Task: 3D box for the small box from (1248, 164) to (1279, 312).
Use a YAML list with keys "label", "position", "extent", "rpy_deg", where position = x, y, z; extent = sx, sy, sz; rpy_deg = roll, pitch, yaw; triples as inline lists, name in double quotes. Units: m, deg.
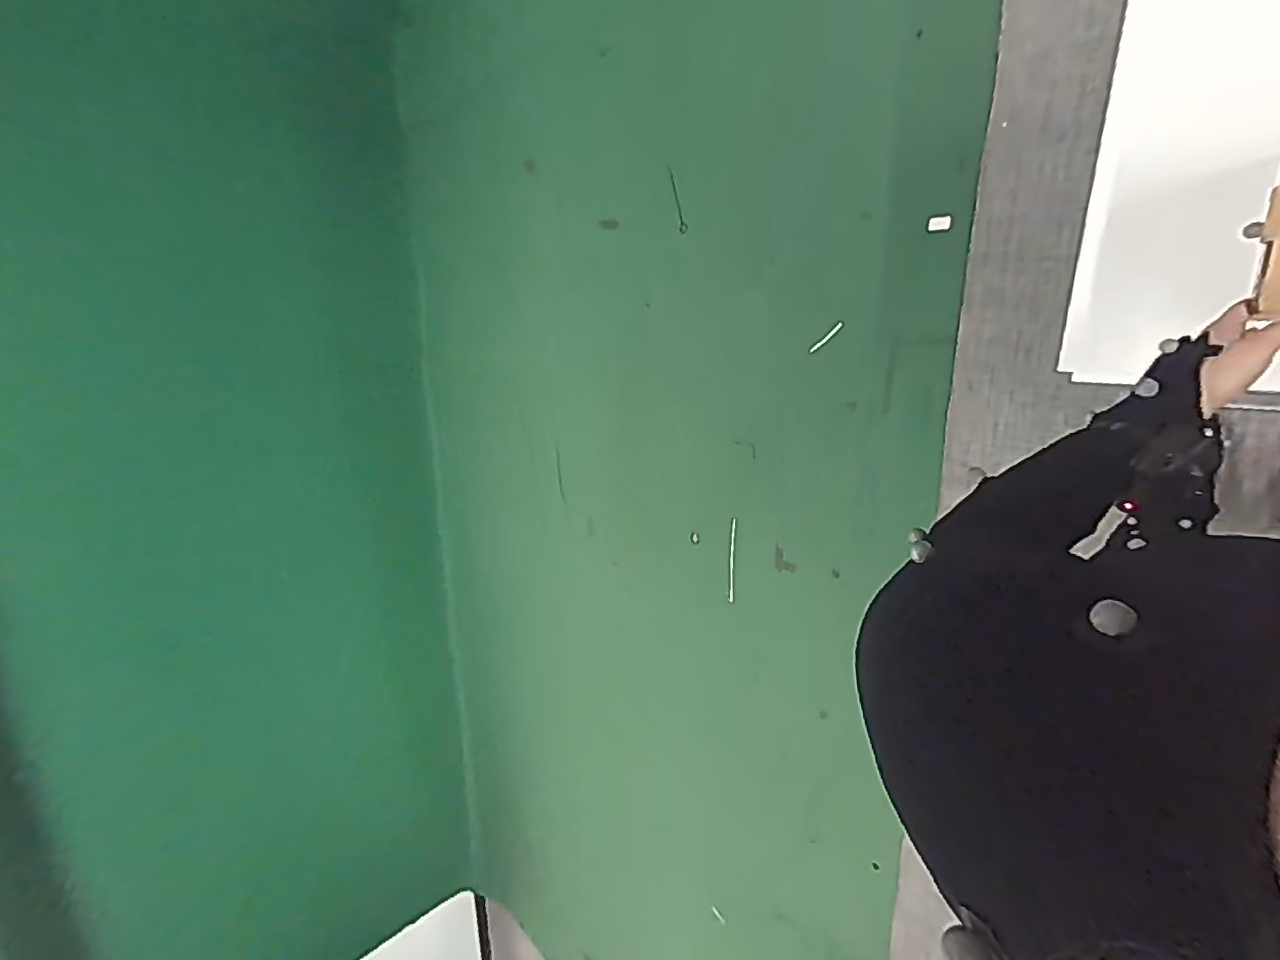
- label: "small box"
  position: [0.654, -0.232, 0.450]
  extent: [0.179, 0.176, 0.168]
  rpy_deg: [14, 109, 45]
